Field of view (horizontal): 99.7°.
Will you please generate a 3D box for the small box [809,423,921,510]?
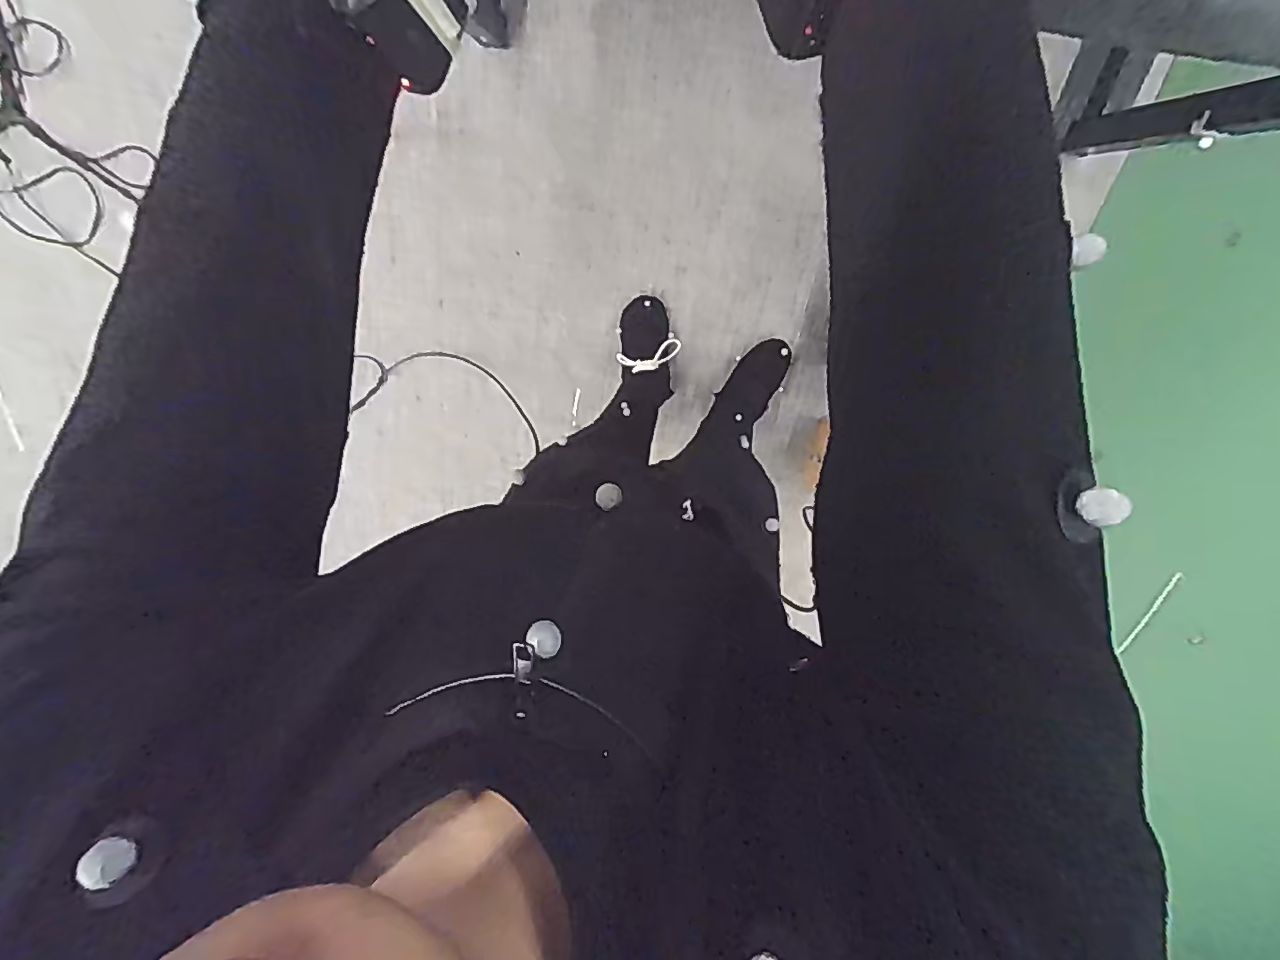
[{"bbox_3d":[0.514,-0.021,1.270,0.179,0.176,0.168,11,117,0],"label":"small box"}]
